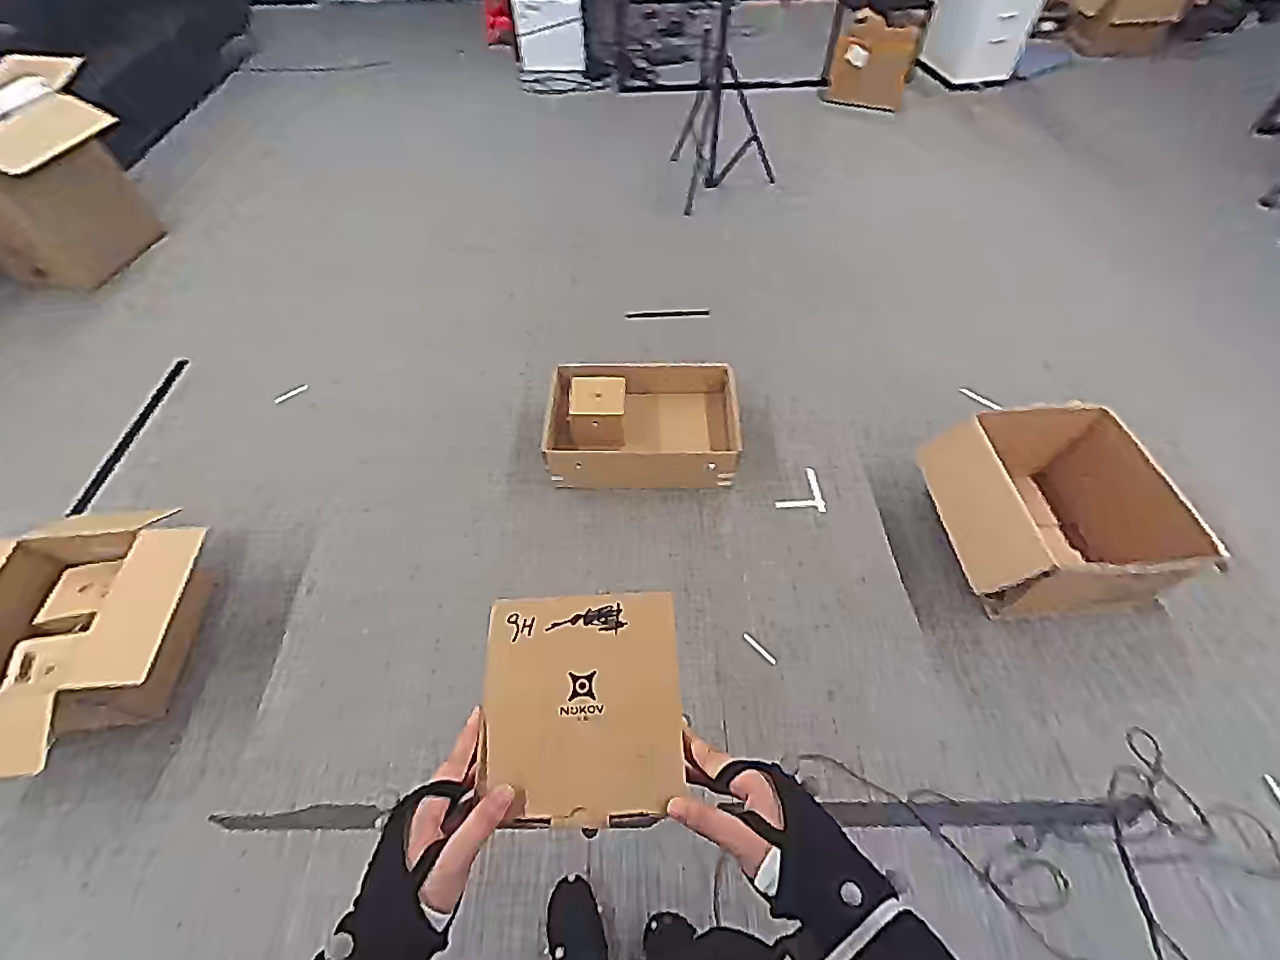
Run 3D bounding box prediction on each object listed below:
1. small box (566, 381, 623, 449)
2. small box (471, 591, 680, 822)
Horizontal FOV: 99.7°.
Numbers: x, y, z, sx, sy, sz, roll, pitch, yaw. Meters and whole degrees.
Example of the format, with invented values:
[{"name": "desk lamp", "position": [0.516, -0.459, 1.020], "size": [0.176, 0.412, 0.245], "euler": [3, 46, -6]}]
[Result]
[{"name": "small box", "position": [-0.148, -0.217, 1.831], "size": [0.179, 0.176, 0.168], "euler": [0, 56, -1]}, {"name": "small box", "position": [-0.049, 0.217, 0.520], "size": [0.168, 0.176, 0.179], "euler": [-2, 61, 0]}]
